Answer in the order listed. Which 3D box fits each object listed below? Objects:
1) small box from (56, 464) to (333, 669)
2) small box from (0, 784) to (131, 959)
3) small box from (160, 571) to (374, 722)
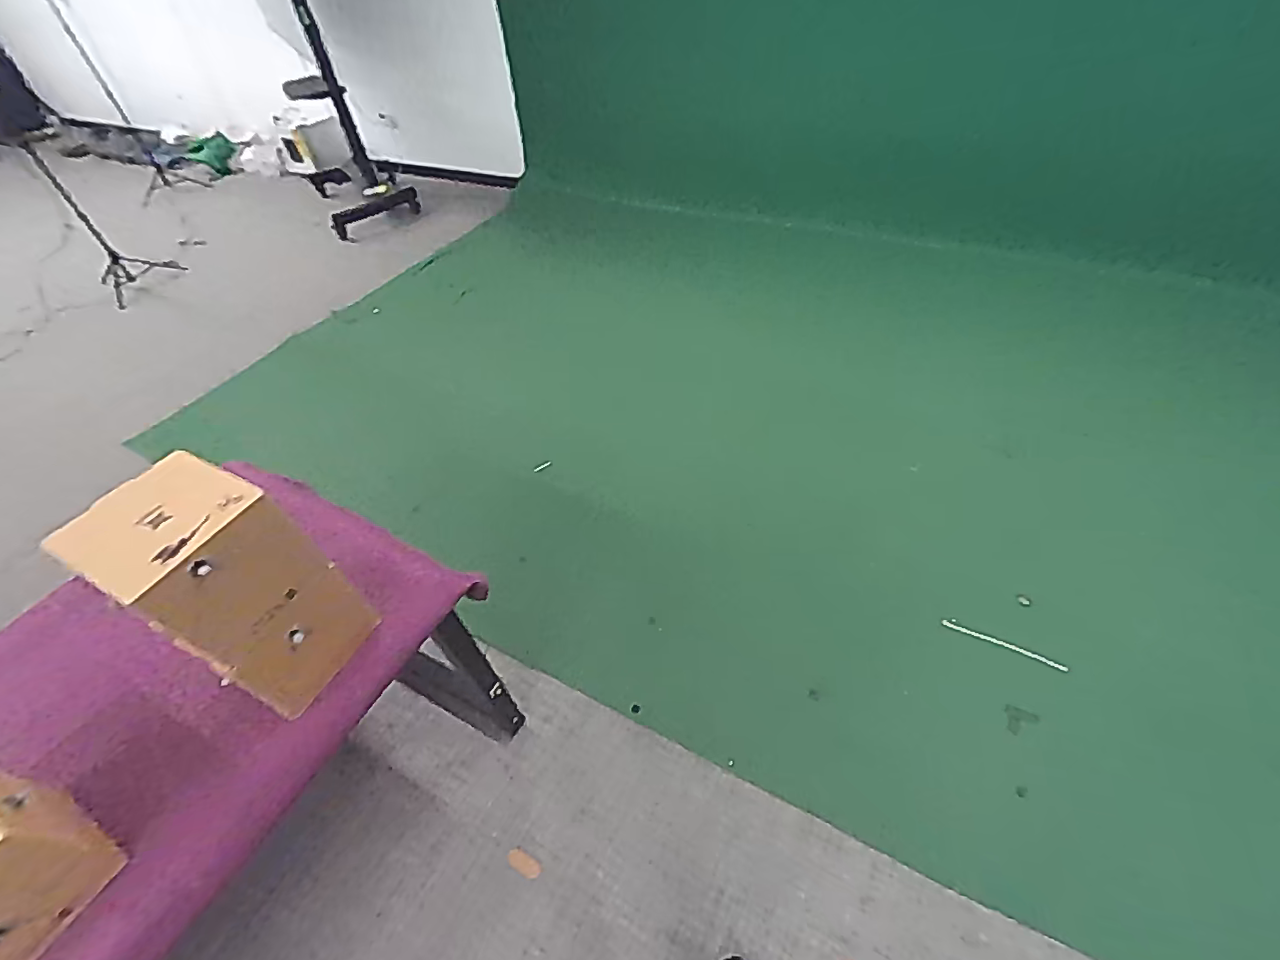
[{"bbox_3d":[-0.545,0.112,0.686,0.179,0.176,0.168,18,54,21],"label":"small box"},{"bbox_3d":[-0.746,0.465,0.606,0.179,0.176,0.168,18,51,22],"label":"small box"},{"bbox_3d":[-0.531,0.223,0.805,0.168,0.176,0.179,18,53,20],"label":"small box"}]
